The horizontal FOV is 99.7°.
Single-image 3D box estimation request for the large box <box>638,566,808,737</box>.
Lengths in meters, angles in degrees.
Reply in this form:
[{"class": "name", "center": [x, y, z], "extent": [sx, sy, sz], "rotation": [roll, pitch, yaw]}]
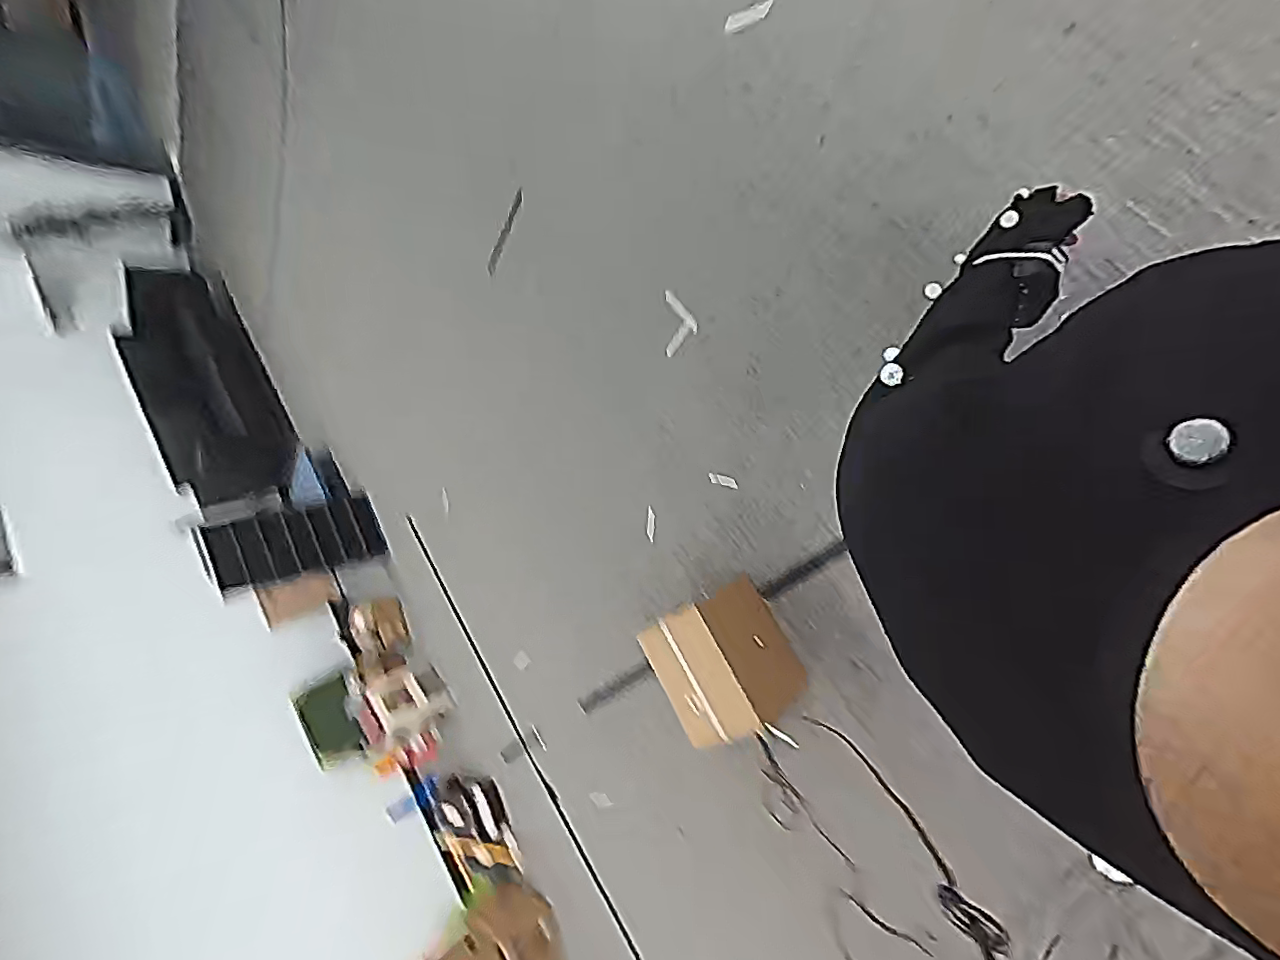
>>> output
[{"class": "large box", "center": [0.273, 0.557, 1.788], "extent": [0.320, 0.320, 0.408], "rotation": [-40, 75, 41]}]
